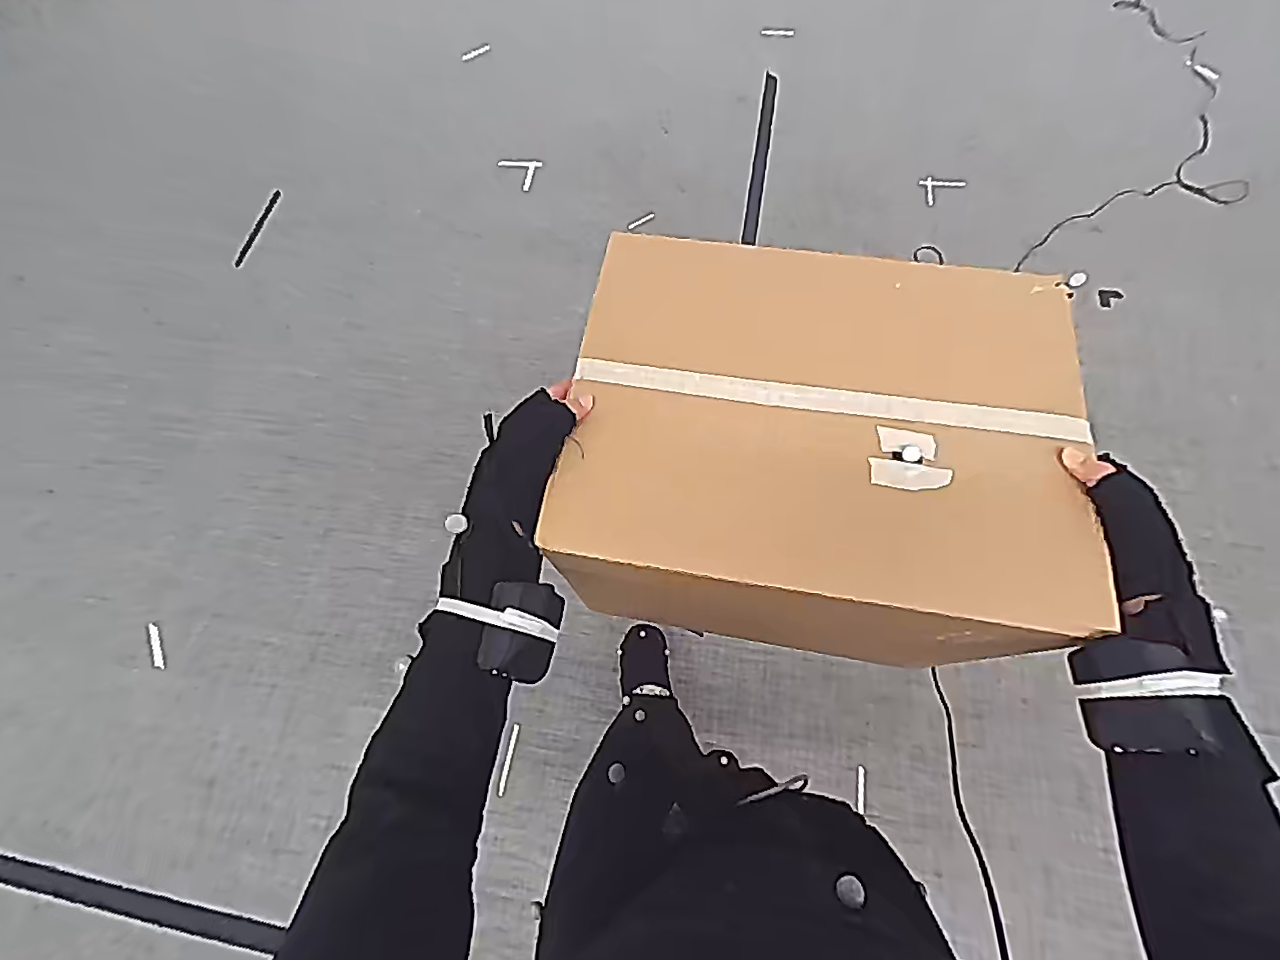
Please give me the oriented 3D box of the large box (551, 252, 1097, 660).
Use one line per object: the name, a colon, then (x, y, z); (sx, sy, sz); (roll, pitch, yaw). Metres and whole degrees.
large box: (0.152, -0.002, 0.587); (0.408, 0.320, 0.320); (8, 69, 6)
